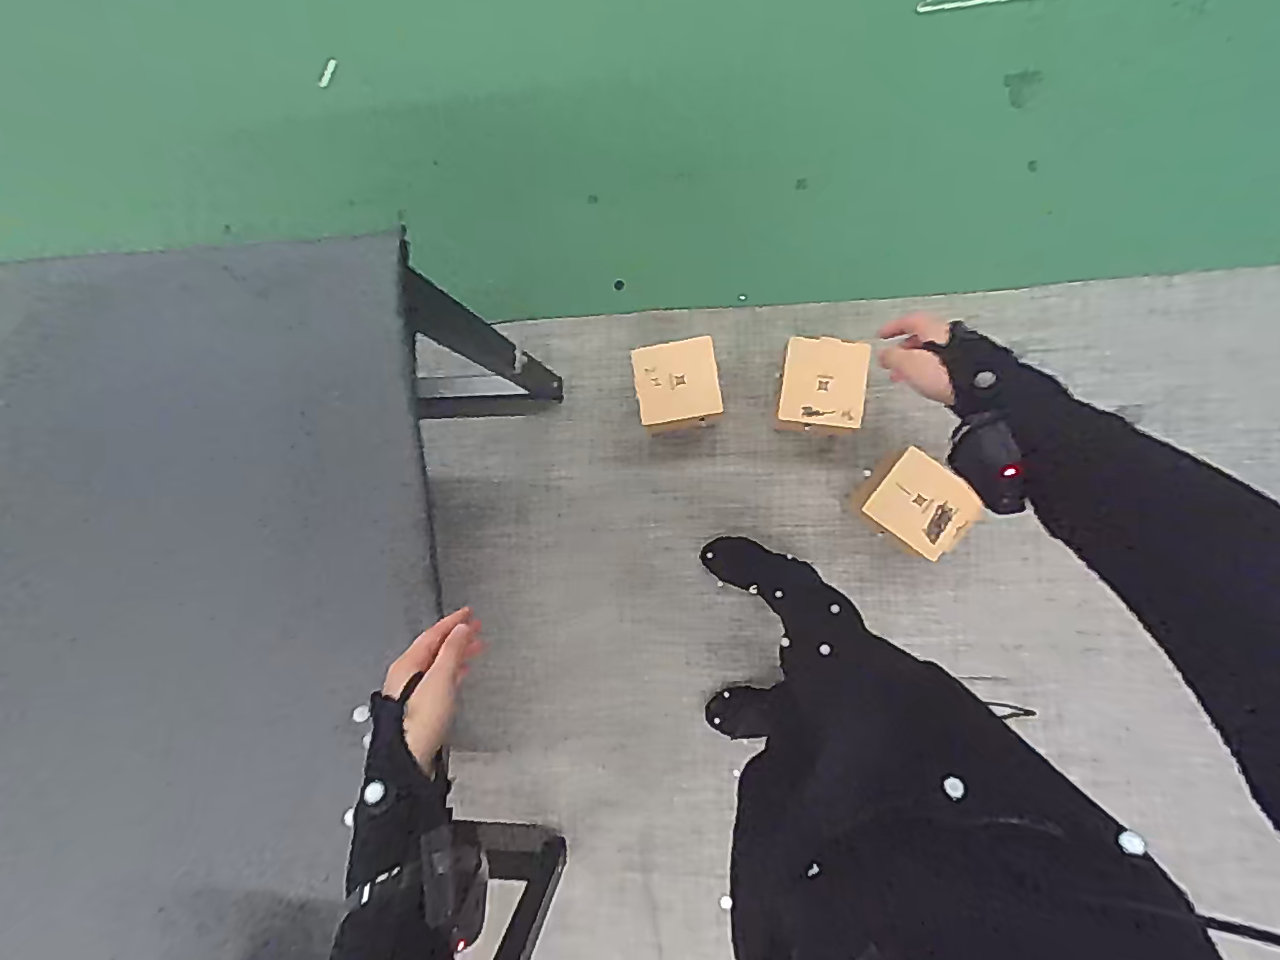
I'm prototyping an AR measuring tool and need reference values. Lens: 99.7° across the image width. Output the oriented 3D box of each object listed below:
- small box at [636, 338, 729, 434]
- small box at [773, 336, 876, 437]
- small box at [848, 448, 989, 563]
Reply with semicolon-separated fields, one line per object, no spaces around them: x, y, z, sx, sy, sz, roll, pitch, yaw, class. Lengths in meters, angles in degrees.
0.096;-0.203;1.208;0.179;0.176;0.168;-9;88;7;small box
0.390;-0.195;1.170;0.168;0.176;0.179;8;90;7;small box
0.575;0.050;1.144;0.179;0.176;0.168;37;94;7;small box
